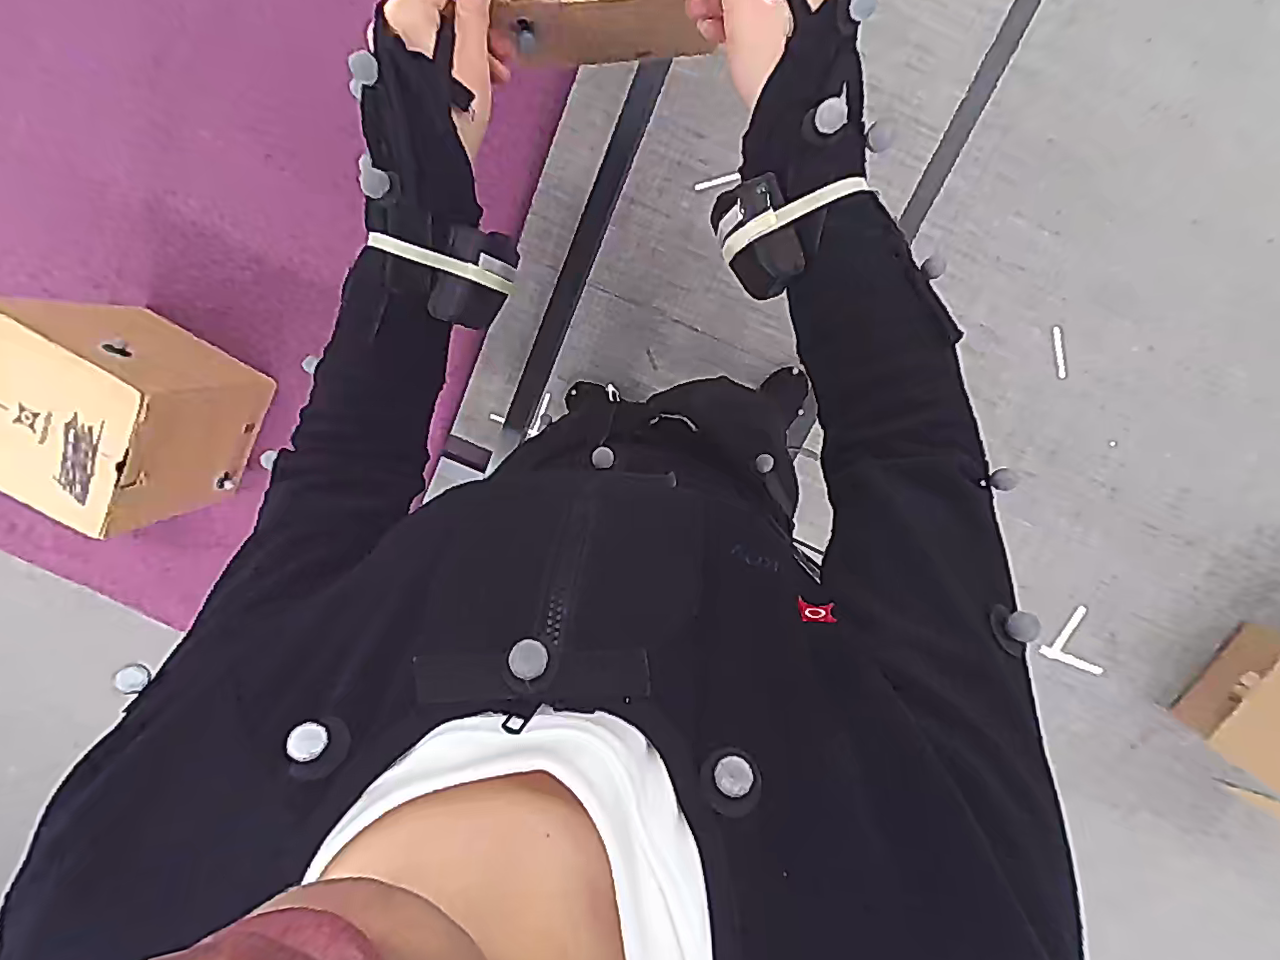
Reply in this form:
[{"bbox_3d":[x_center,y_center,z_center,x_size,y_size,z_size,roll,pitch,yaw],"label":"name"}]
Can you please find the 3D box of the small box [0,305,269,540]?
[{"bbox_3d":[-0.548,-0.069,0.574,0.179,0.176,0.168,30,103,-3],"label":"small box"}]
